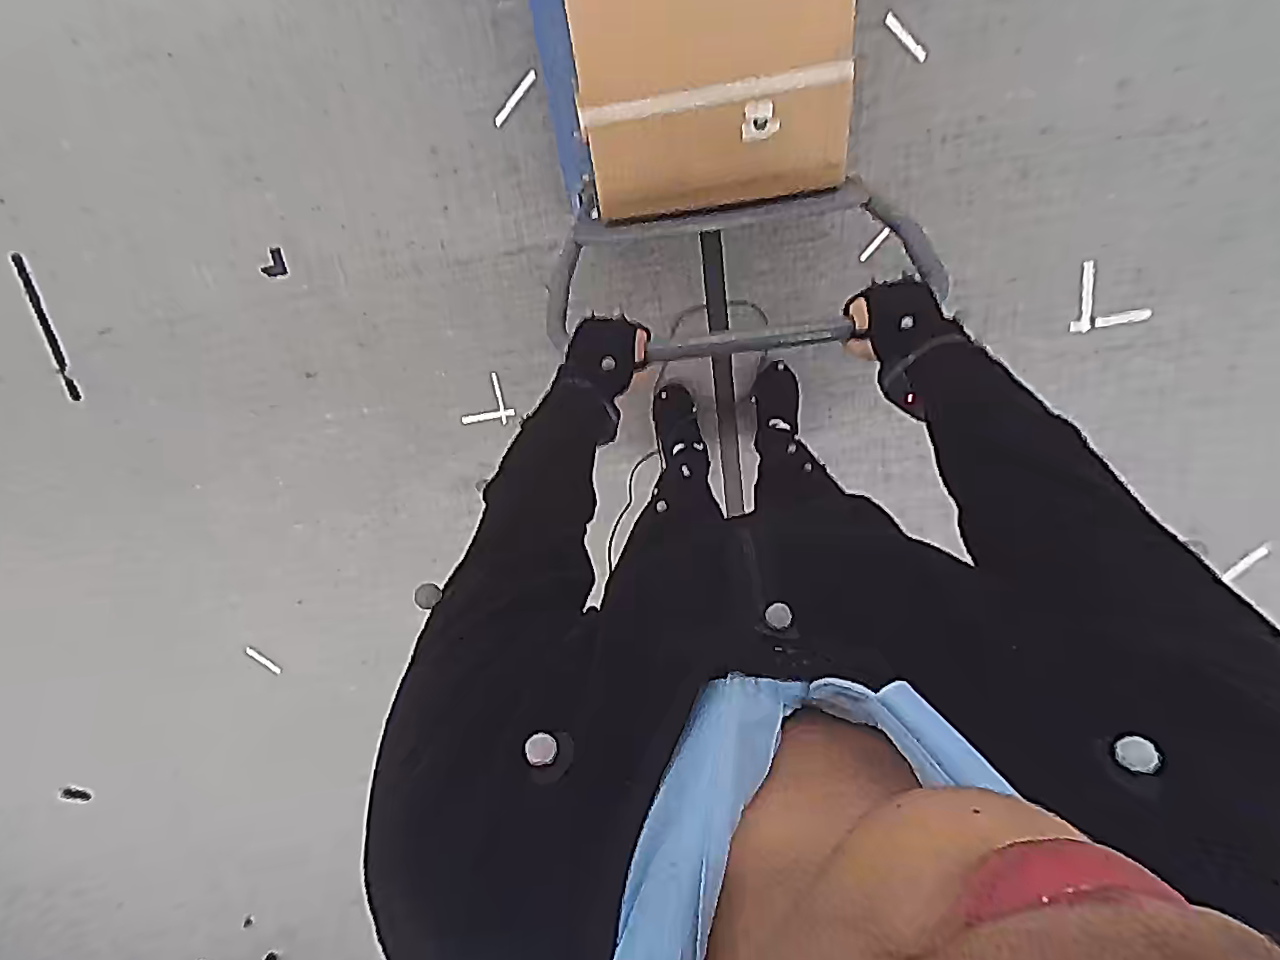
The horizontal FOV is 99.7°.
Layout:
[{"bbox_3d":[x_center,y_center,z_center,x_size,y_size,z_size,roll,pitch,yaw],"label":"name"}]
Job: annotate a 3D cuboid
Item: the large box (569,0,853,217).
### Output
[{"bbox_3d":[0.118,-0.686,0.947,0.408,0.320,0.320,-7,126,6],"label":"large box"}]
